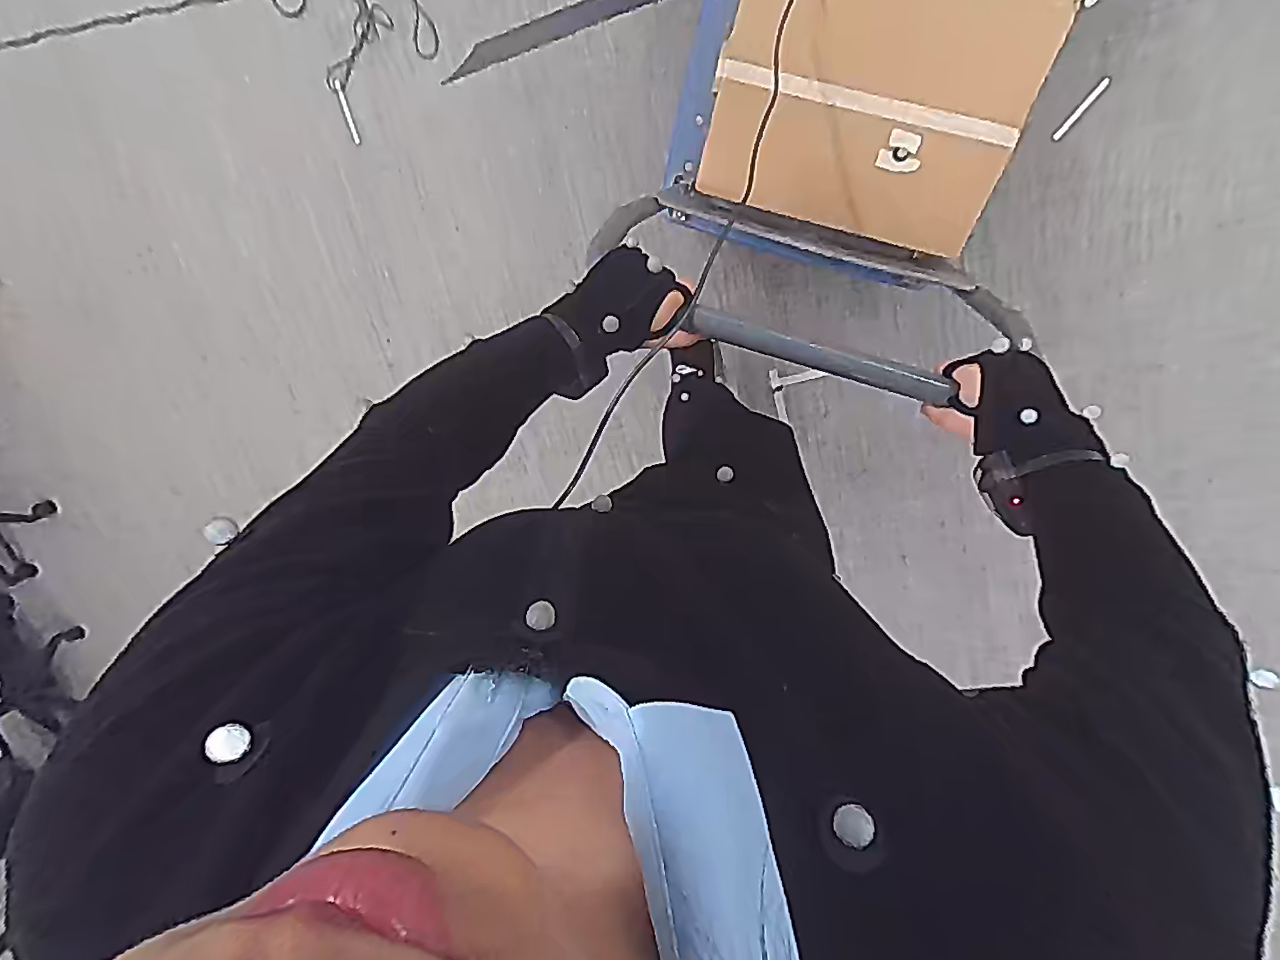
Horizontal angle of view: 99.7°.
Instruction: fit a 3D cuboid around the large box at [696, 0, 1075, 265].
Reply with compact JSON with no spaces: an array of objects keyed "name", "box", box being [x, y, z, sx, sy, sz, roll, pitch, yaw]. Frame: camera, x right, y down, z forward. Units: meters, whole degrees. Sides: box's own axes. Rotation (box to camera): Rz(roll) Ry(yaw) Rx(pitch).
[{"name":"large box","box":[0.332,-0.568,0.866,0.408,0.320,0.320,17,121,3]}]
